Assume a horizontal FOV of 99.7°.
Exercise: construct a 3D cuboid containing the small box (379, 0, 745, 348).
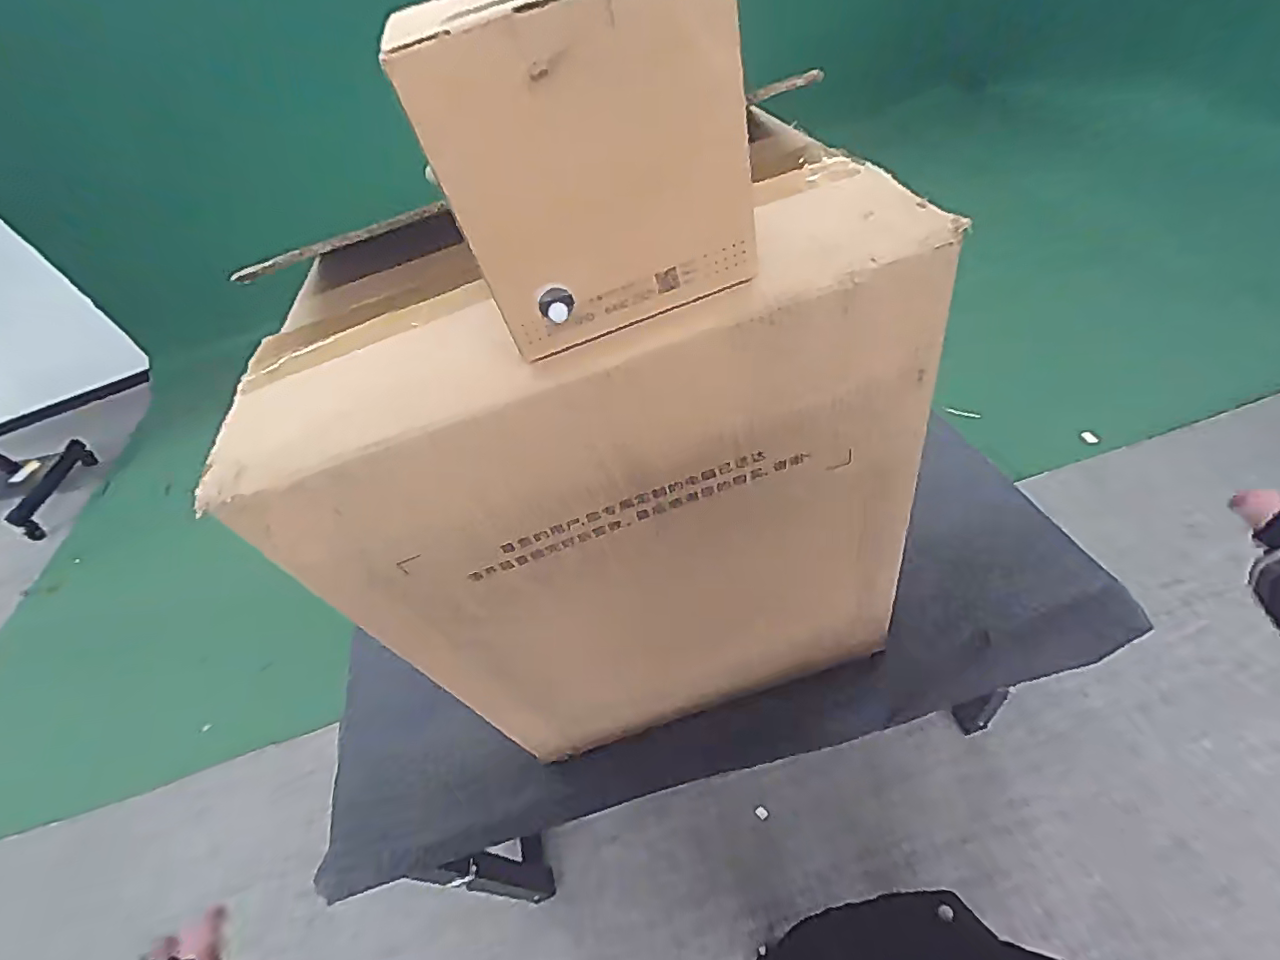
[{"bbox_3d":[-0.042,-0.209,0.355,0.168,0.176,0.179,-21,46,-1],"label":"small box"}]
